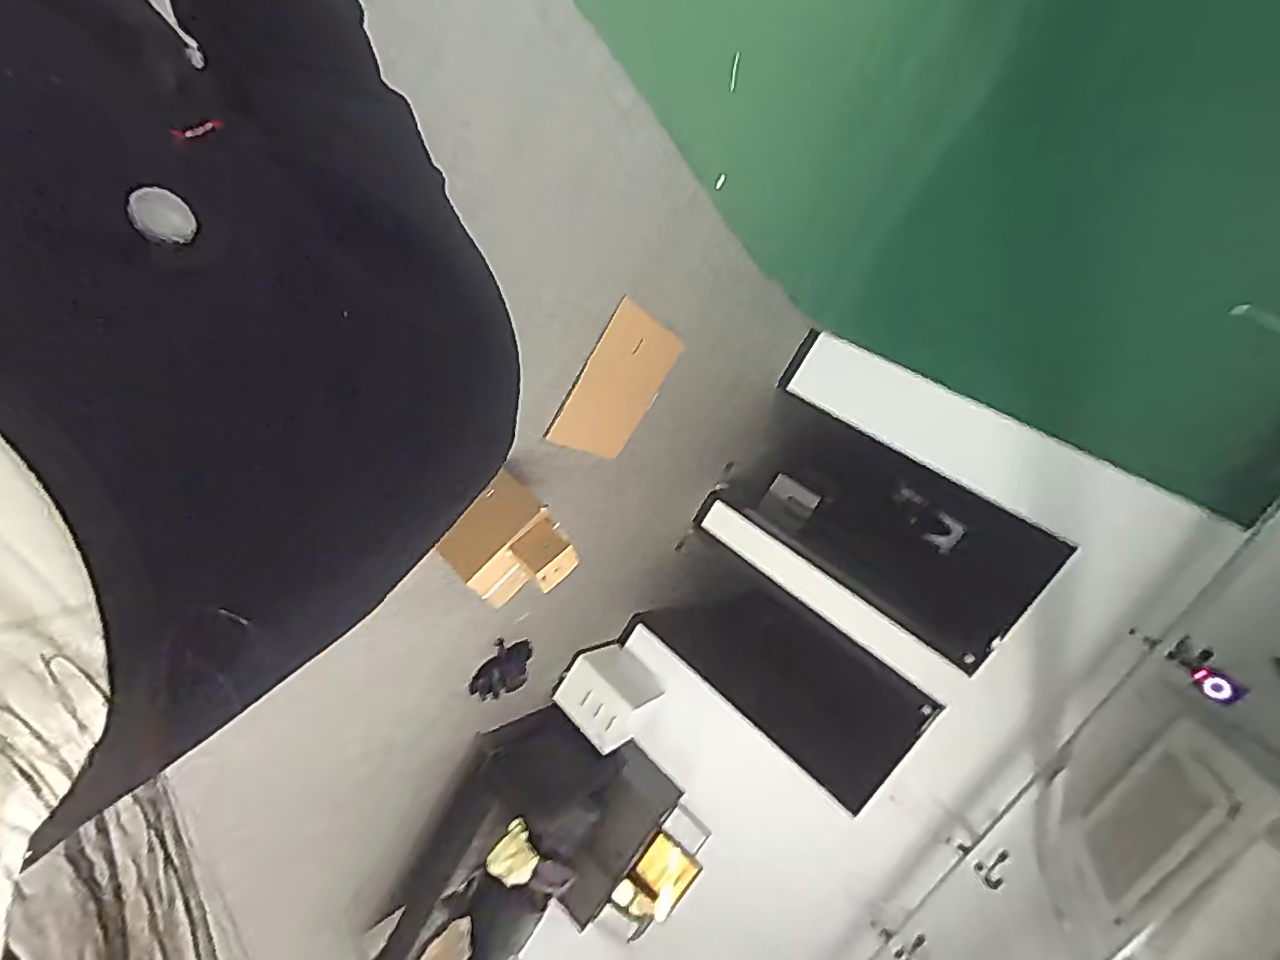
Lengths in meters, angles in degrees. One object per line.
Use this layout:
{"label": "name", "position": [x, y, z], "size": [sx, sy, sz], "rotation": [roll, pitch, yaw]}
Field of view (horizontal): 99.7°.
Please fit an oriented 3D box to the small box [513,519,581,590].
{"label": "small box", "position": [-0.357, 0.283, 2.082], "size": [0.179, 0.176, 0.168], "rotation": [-43, 152, -18]}
